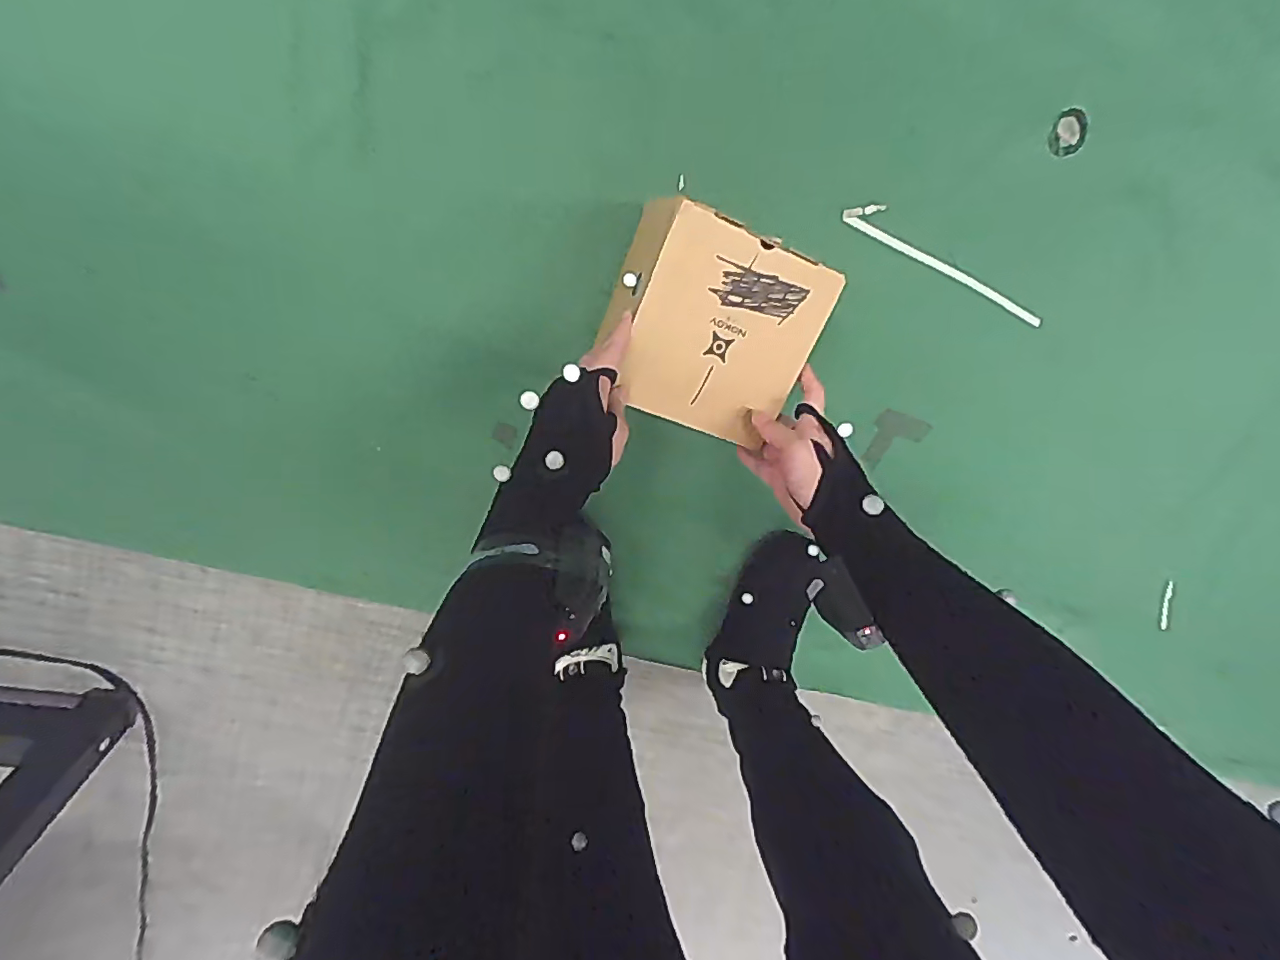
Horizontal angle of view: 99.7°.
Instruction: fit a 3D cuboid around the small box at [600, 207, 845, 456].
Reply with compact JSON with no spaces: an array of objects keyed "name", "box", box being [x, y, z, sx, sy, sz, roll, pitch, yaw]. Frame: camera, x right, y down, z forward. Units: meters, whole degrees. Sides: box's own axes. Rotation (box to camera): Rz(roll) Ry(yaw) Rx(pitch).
[{"name":"small box","box":[0.064,-0.154,0.550,0.168,0.176,0.179,18,111,-16]}]
